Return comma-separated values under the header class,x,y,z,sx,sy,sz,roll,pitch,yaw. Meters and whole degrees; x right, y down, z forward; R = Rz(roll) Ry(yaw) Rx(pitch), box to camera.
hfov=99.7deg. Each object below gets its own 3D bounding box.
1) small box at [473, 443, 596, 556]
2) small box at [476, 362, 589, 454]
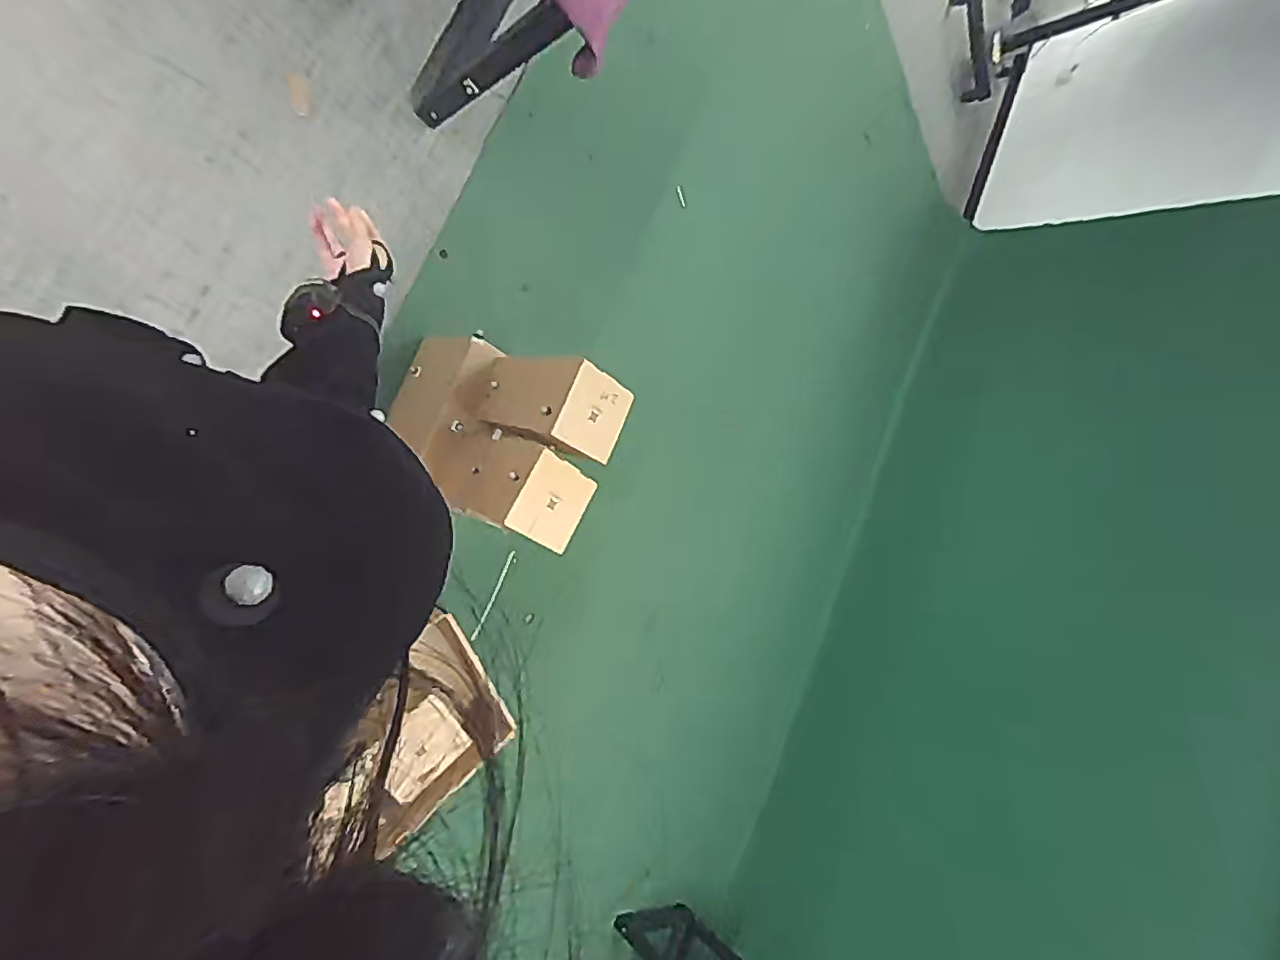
class,x,y,z,sx,sy,sz,roll,pitch,yaw
small box,-0.233,0.037,1.163,0.168,0.176,0.179,38,72,-41
small box,-0.262,-0.179,1.312,0.179,0.176,0.168,26,82,-44
